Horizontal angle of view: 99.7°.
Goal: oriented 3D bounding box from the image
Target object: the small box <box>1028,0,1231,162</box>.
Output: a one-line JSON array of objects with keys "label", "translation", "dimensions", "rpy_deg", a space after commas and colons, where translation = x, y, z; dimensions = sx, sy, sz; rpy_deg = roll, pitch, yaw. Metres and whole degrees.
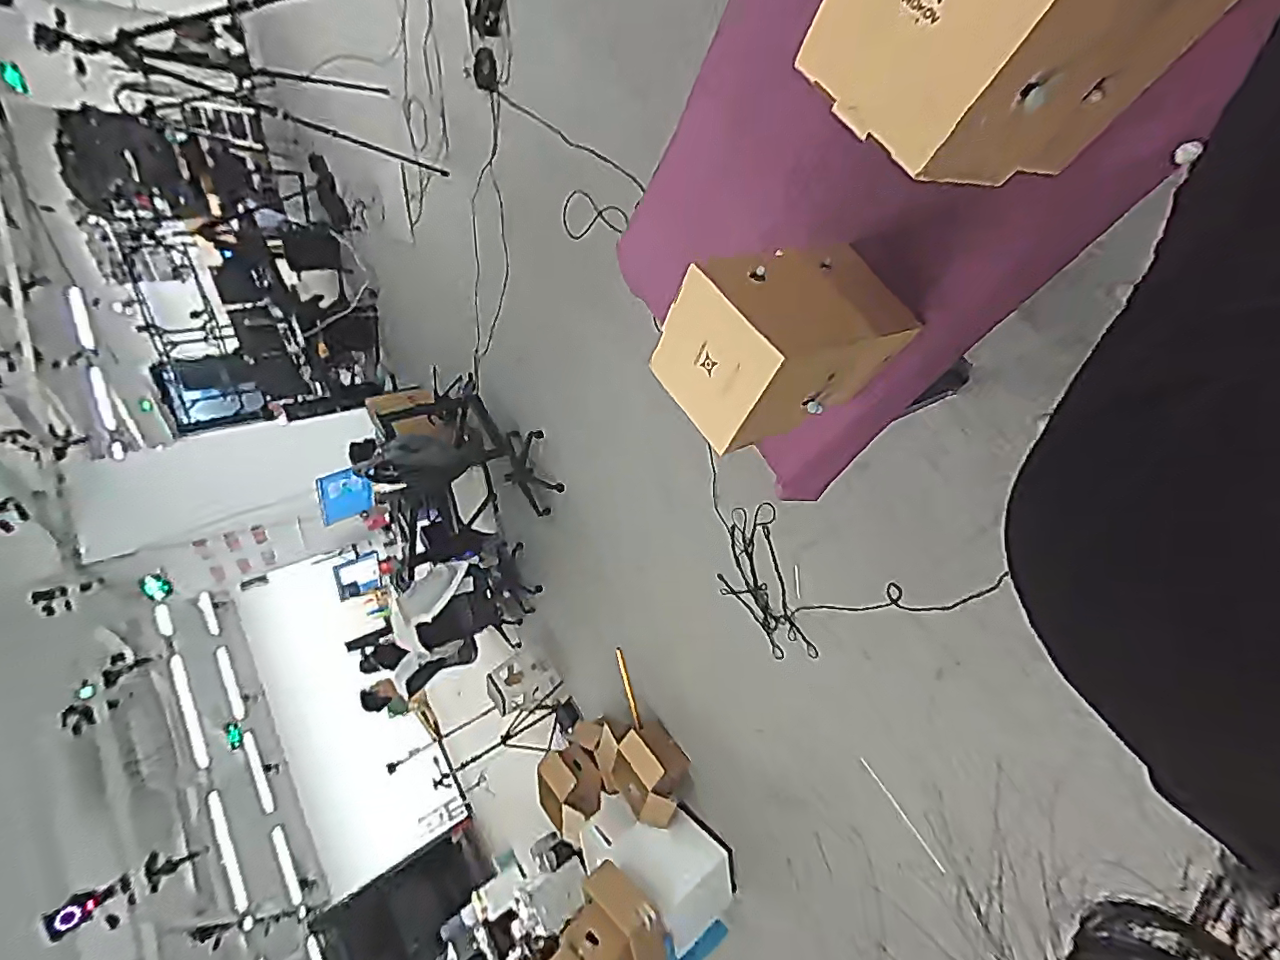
[{"label": "small box", "translation": [0.397, -0.430, 0.511], "dimensions": [0.168, 0.176, 0.179], "rpy_deg": [58, 145, 18]}]

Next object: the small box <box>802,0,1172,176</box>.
[{"label": "small box", "translation": [0.273, -0.368, 0.423], "dimensions": [0.168, 0.176, 0.179], "rpy_deg": [57, 145, 18]}]

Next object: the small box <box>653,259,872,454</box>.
[{"label": "small box", "translation": [0.152, -0.164, 0.697], "dimensions": [0.179, 0.176, 0.168], "rpy_deg": [54, 143, 23]}]
